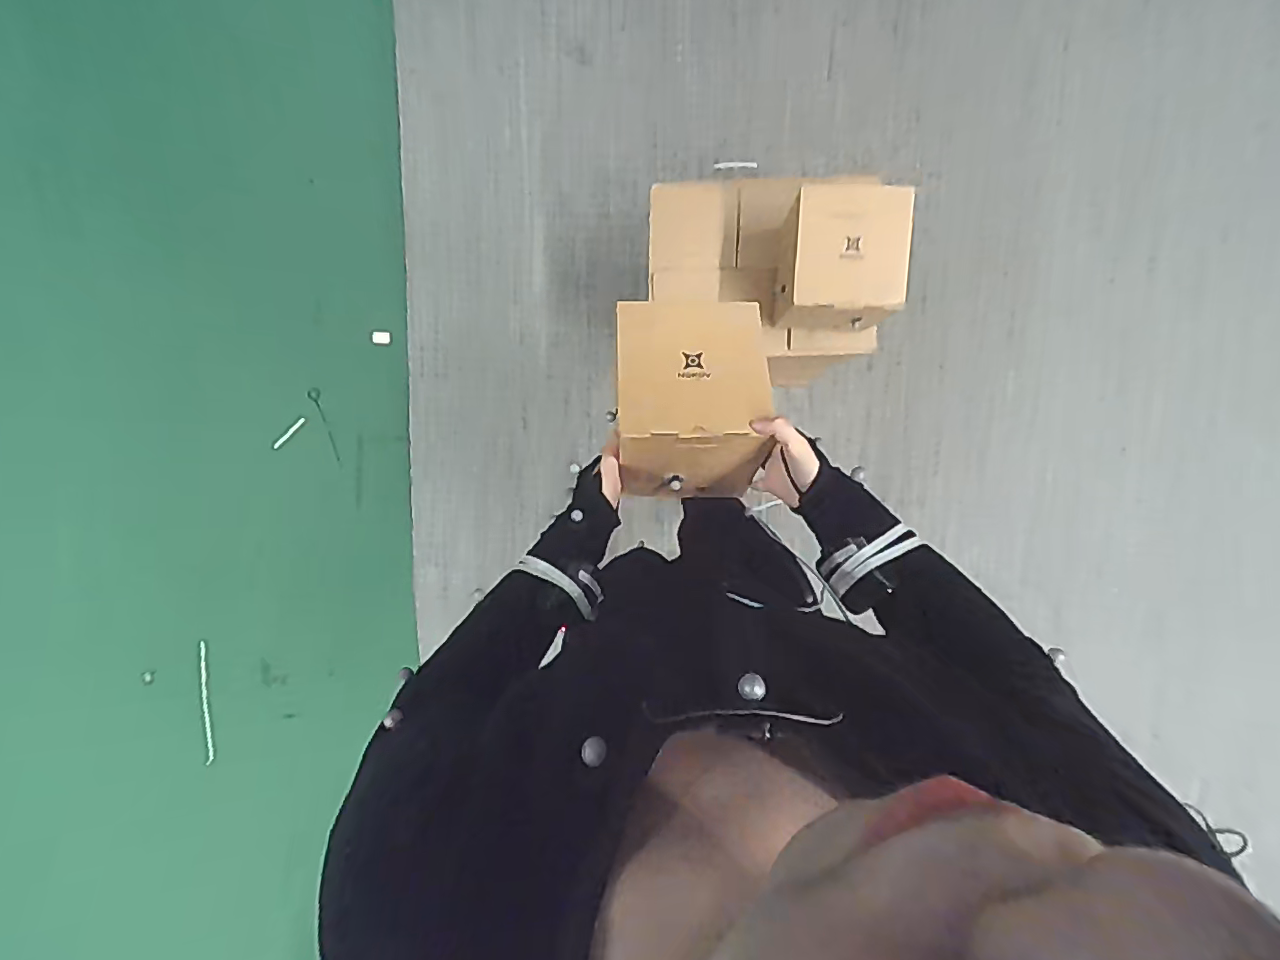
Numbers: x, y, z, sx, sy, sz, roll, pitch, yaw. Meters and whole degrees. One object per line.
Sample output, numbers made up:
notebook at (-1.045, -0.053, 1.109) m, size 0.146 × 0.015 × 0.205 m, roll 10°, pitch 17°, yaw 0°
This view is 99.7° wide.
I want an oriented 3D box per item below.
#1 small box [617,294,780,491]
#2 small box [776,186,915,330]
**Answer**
small box at (0.056, -0.099, 0.656) m, size 0.168 × 0.176 × 0.179 m, roll -1°, pitch 67°, yaw -3°
small box at (0.318, -0.346, 0.870) m, size 0.168 × 0.176 × 0.179 m, roll 3°, pitch 94°, yaw 4°
